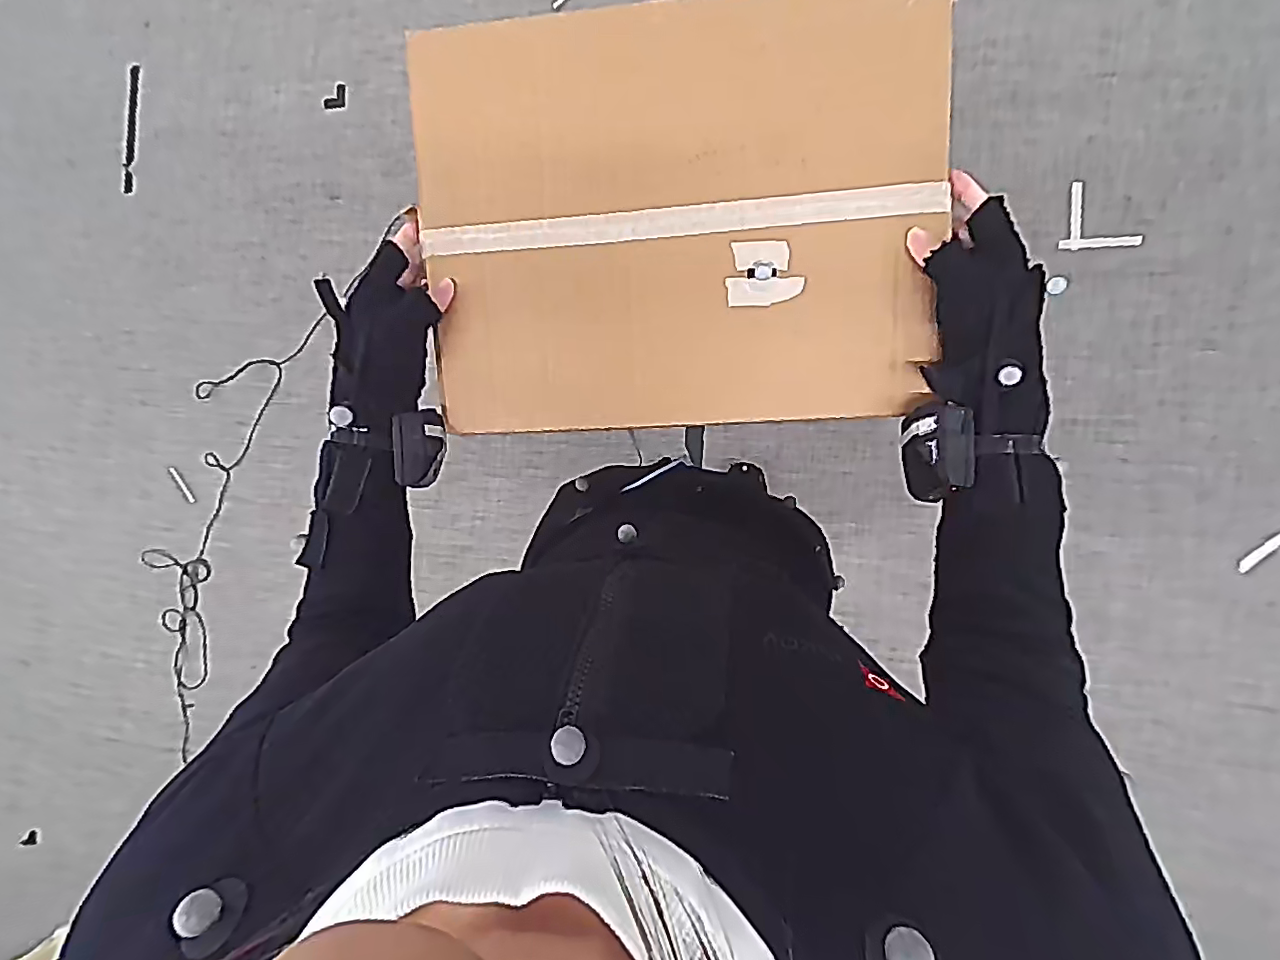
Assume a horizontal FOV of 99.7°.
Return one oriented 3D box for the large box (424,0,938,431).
[{"bbox_3d":[0.042,-0.224,0.581,0.408,0.320,0.320,-2,98,6],"label":"large box"}]
